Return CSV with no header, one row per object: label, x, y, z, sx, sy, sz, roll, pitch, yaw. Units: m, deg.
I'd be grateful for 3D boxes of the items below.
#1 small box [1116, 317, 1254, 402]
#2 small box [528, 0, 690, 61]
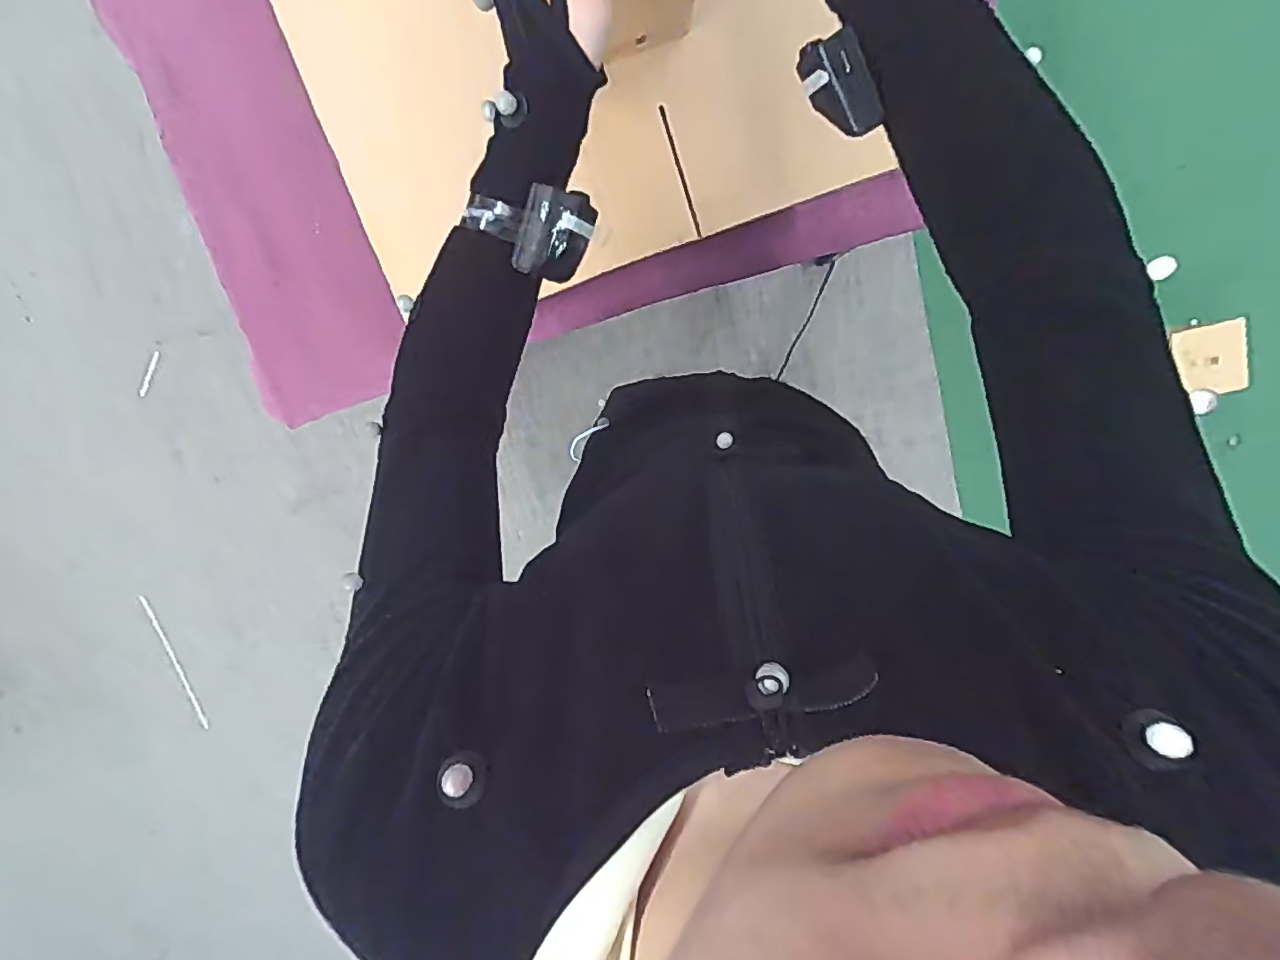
small box,1.328,-0.292,1.326,0.179,0.176,0.168,-13,99,2
small box,-0.044,-0.553,0.522,0.168,0.176,0.179,-20,99,1
